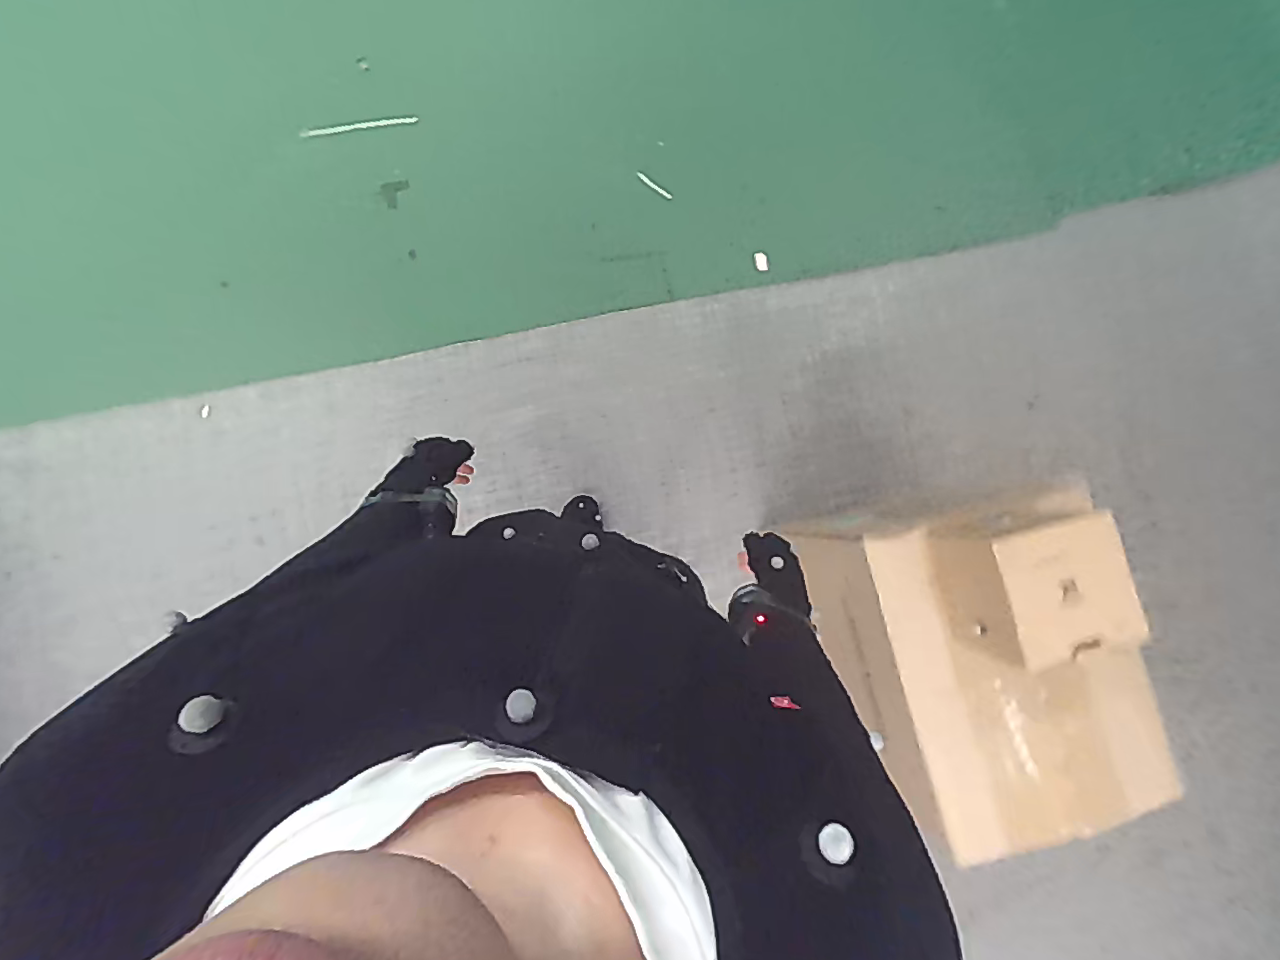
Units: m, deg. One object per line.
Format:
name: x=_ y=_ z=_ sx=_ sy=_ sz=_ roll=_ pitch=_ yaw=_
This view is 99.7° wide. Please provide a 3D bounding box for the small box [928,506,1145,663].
small box: x=0.560 y=0.141 z=0.789 sx=0.168 sy=0.176 sz=0.179 roll=-15 pitch=86 yaw=-1
